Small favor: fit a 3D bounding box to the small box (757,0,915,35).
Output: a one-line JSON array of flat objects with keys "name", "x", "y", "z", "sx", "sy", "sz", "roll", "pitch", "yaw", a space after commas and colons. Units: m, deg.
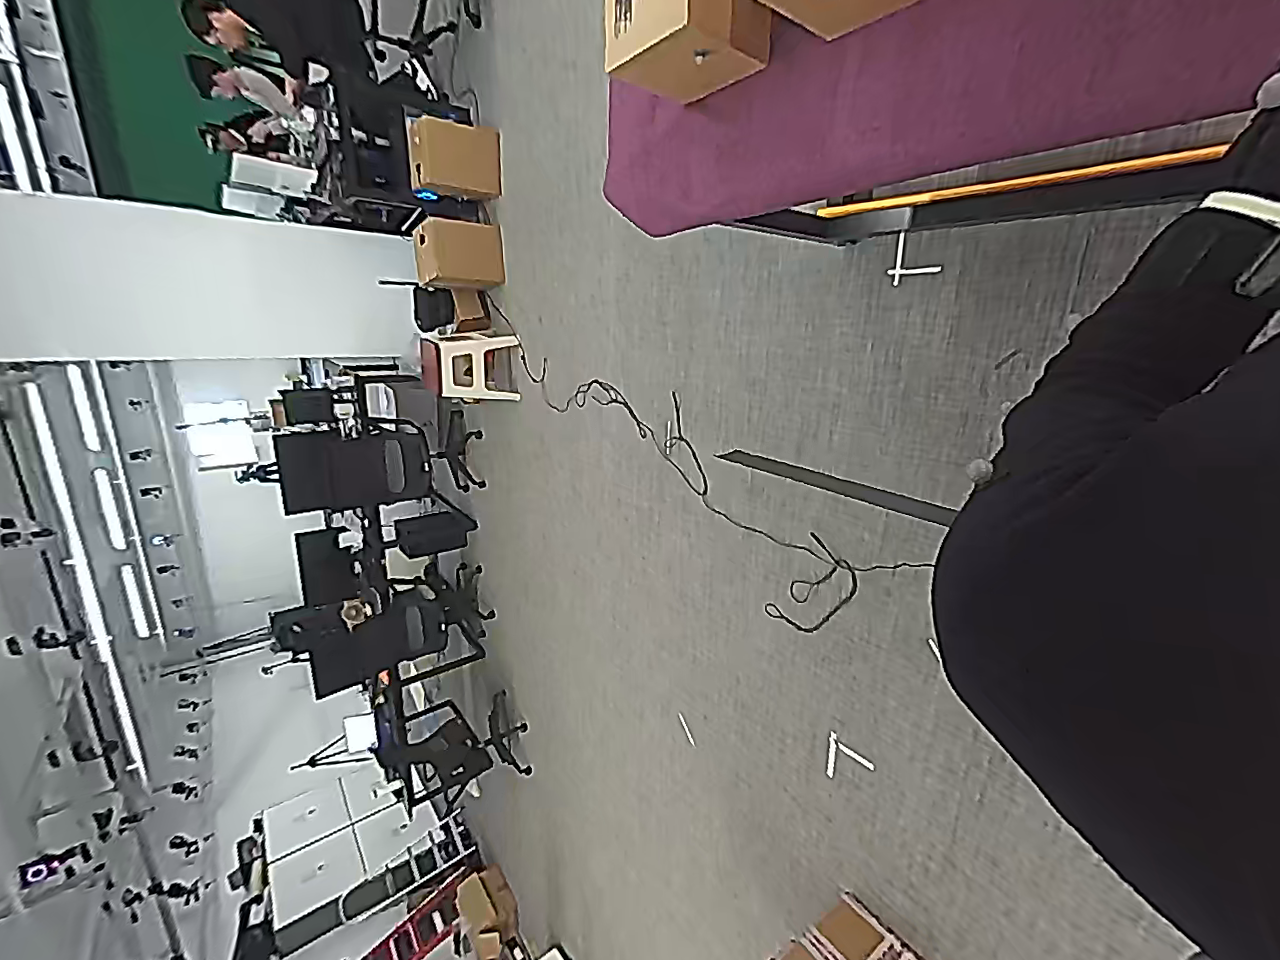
[{"name": "small box", "x": 0.235, "y": -0.616, "z": 0.566, "sx": 0.179, "sy": 0.176, "sz": 0.168, "roll": 22, "pitch": 116, "yaw": 50}]
